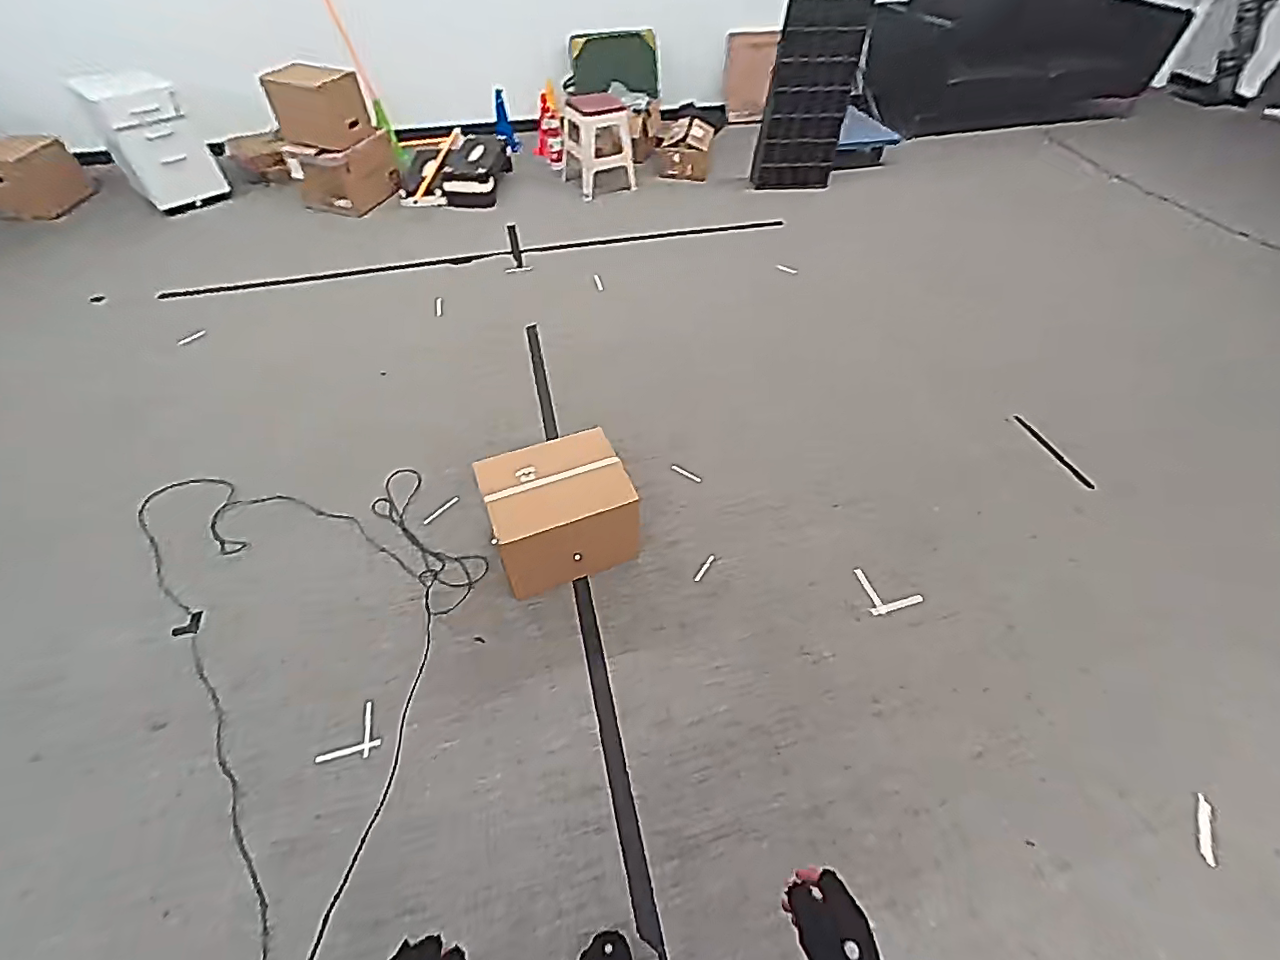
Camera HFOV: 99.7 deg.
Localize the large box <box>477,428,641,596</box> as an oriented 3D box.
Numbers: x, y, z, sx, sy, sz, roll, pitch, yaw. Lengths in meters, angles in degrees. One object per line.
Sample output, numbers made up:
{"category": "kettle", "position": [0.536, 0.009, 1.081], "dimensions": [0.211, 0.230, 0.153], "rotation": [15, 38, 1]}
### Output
{"category": "large box", "position": [-0.240, 0.098, 1.664], "dimensions": [0.408, 0.320, 0.320], "rotation": [-18, 53, -15]}
